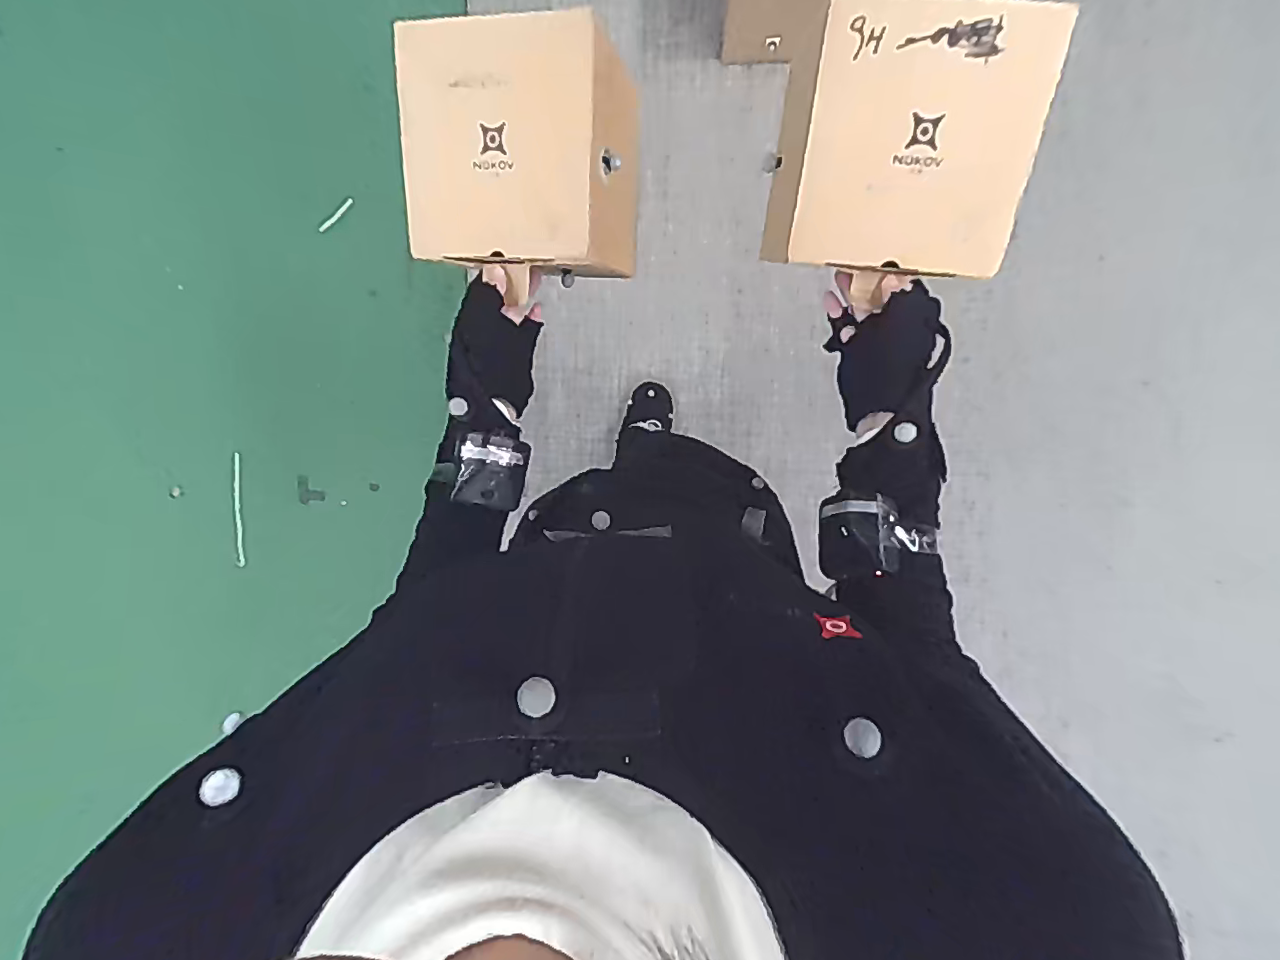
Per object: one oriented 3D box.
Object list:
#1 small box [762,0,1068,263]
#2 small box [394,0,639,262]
[{"bbox_3d":[0.207,-0.293,0.472,0.168,0.176,0.179,6,114,2],"label":"small box"},{"bbox_3d":[-0.099,-0.305,0.507,0.168,0.176,0.179,5,107,12],"label":"small box"}]
